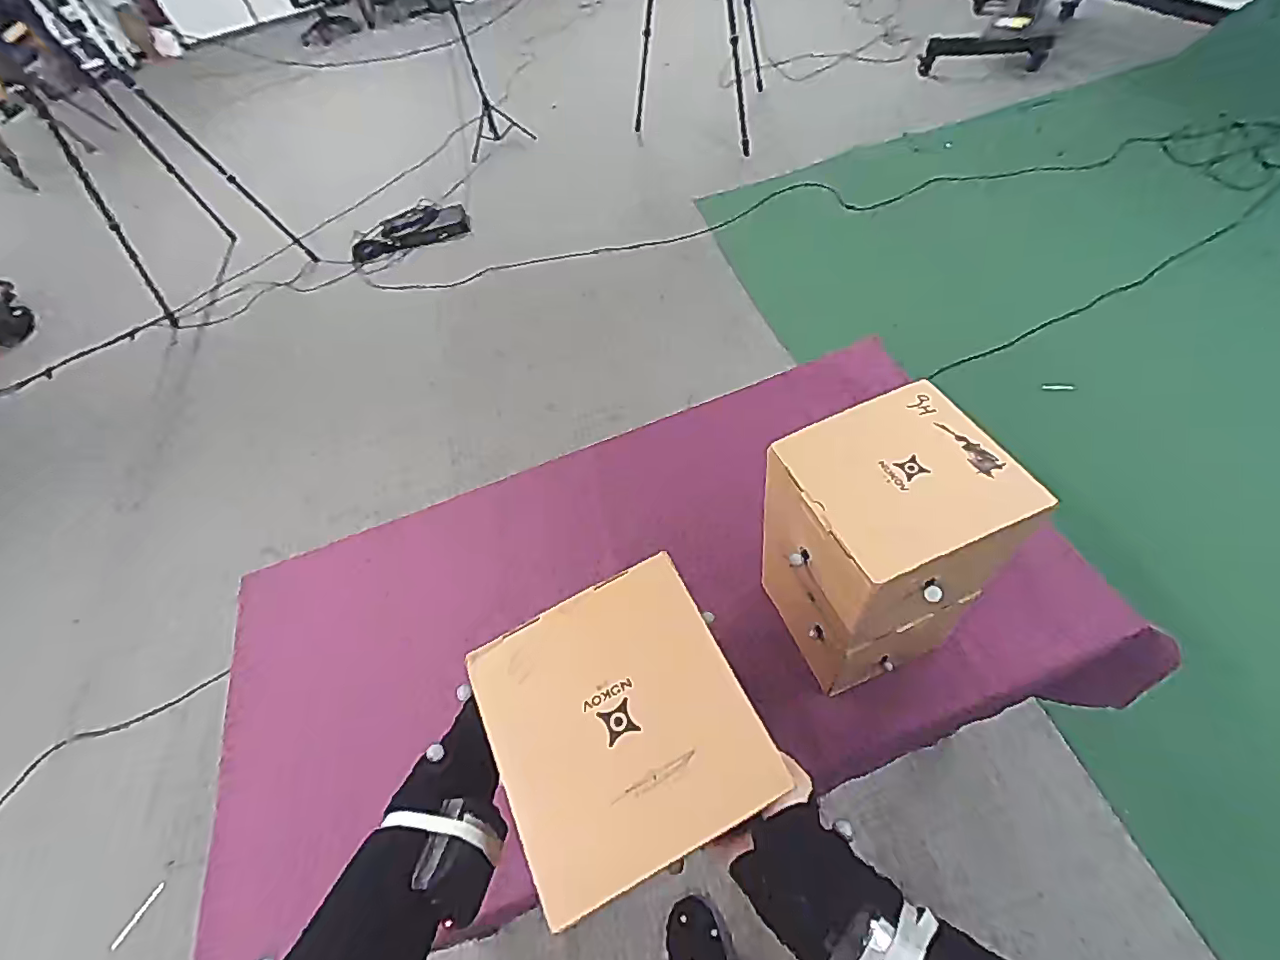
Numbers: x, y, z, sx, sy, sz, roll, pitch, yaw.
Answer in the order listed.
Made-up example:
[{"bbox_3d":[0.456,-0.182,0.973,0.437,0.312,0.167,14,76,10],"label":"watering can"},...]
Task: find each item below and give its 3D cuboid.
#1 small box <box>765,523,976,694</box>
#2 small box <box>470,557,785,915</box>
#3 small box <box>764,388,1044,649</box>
[{"bbox_3d":[0.267,0.138,0.680,0.168,0.176,0.179,-21,53,-5],"label":"small box"},{"bbox_3d":[-0.008,0.195,0.434,0.168,0.176,0.179,-26,61,-6],"label":"small box"},{"bbox_3d":[0.242,0.045,0.547,0.179,0.176,0.168,-23,54,-5],"label":"small box"}]
